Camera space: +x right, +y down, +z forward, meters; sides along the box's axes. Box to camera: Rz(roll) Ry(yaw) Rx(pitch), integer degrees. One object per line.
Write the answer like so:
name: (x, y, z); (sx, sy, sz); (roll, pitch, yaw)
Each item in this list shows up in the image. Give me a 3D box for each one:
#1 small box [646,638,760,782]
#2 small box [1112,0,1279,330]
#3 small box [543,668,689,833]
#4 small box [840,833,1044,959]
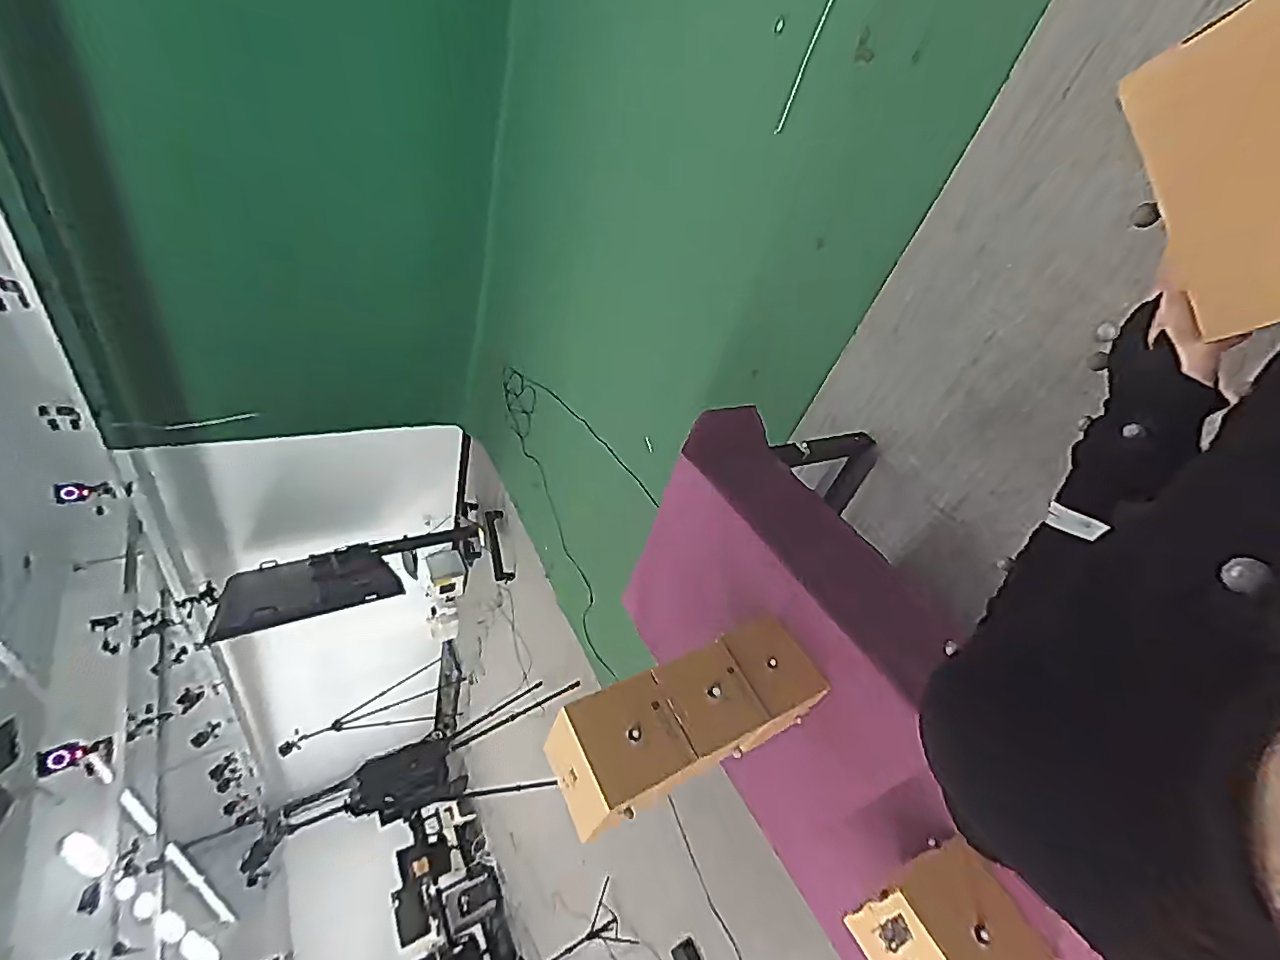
small box: (0.094, 0.419, 1.000); (0.168, 0.176, 0.179); (57, 140, 31)
small box: (0.431, -0.208, 0.326); (0.168, 0.176, 0.179); (-18, 88, 53)
small box: (-0.041, 0.445, 0.908); (0.168, 0.176, 0.179); (55, 140, 32)
small box: (0.455, 0.677, 0.825); (0.179, 0.176, 0.168); (53, 139, 34)
